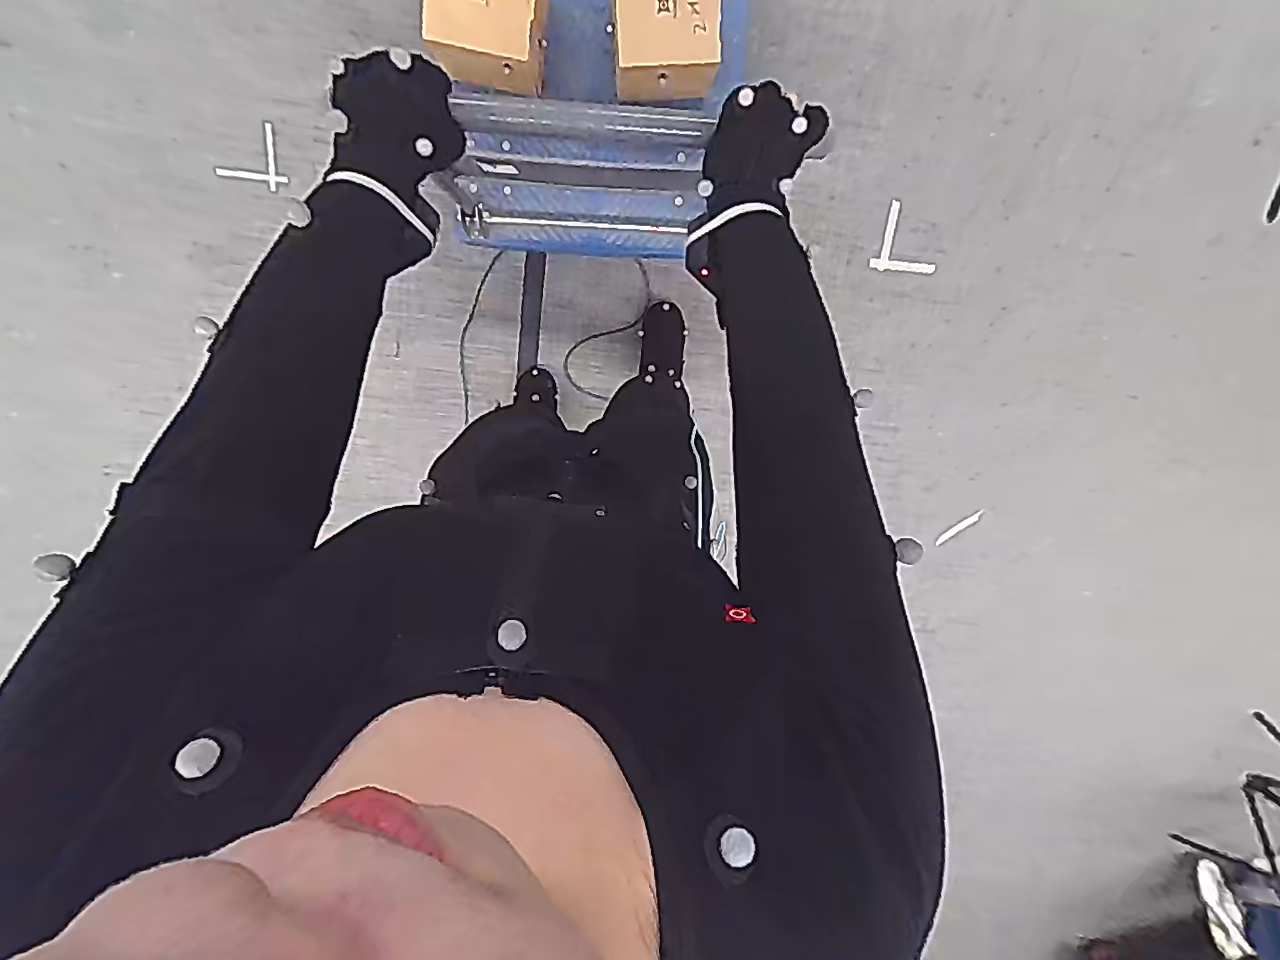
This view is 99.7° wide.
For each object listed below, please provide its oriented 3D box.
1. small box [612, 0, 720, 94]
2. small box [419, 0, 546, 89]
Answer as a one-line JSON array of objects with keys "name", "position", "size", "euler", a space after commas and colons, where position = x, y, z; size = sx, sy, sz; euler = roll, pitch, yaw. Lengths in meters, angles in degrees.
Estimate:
[{"name": "small box", "position": [0.040, -0.804, 0.951], "size": [0.179, 0.176, 0.168], "euler": [-4, 109, -2]}, {"name": "small box", "position": [-0.264, -0.810, 0.931], "size": [0.179, 0.176, 0.168], "euler": [7, 108, -8]}]
